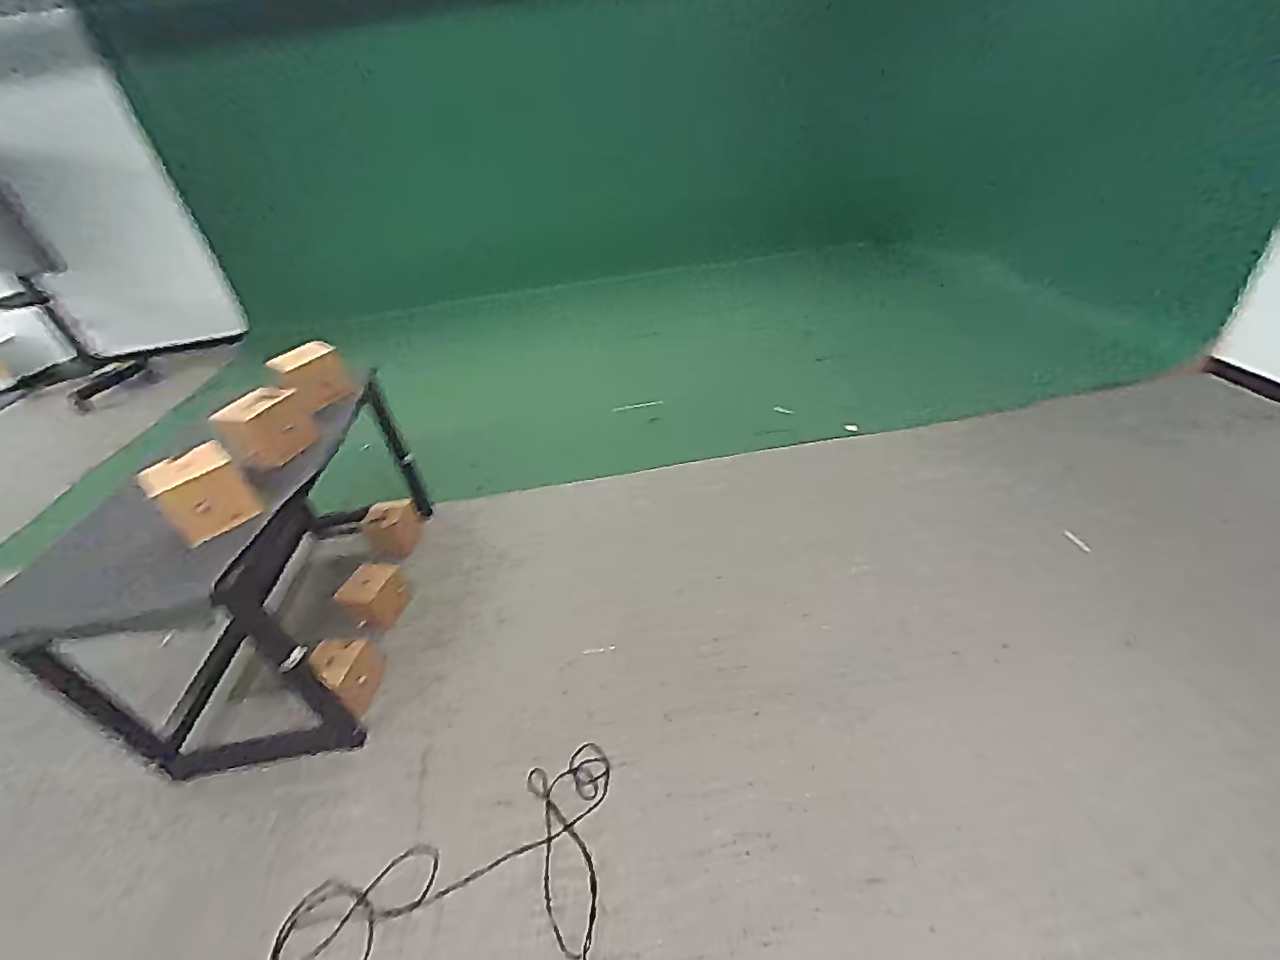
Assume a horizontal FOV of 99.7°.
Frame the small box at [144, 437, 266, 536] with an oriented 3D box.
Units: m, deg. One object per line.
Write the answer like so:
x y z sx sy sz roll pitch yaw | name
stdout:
-1.104 0.019 1.382 0.179 0.176 0.168 24 46 36 | small box

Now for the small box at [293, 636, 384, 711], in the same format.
-0.970 0.632 1.761 0.168 0.176 0.179 -1 37 8 | small box

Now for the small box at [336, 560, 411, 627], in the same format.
-0.994 0.427 2.041 0.168 0.176 0.179 3 39 15 | small box

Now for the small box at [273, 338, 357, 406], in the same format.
-1.149 -0.382 1.924 0.179 0.176 0.168 22 48 35 | small box

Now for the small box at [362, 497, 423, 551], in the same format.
-1.075 0.197 2.366 0.168 0.176 0.179 -5 35 3 | small box
